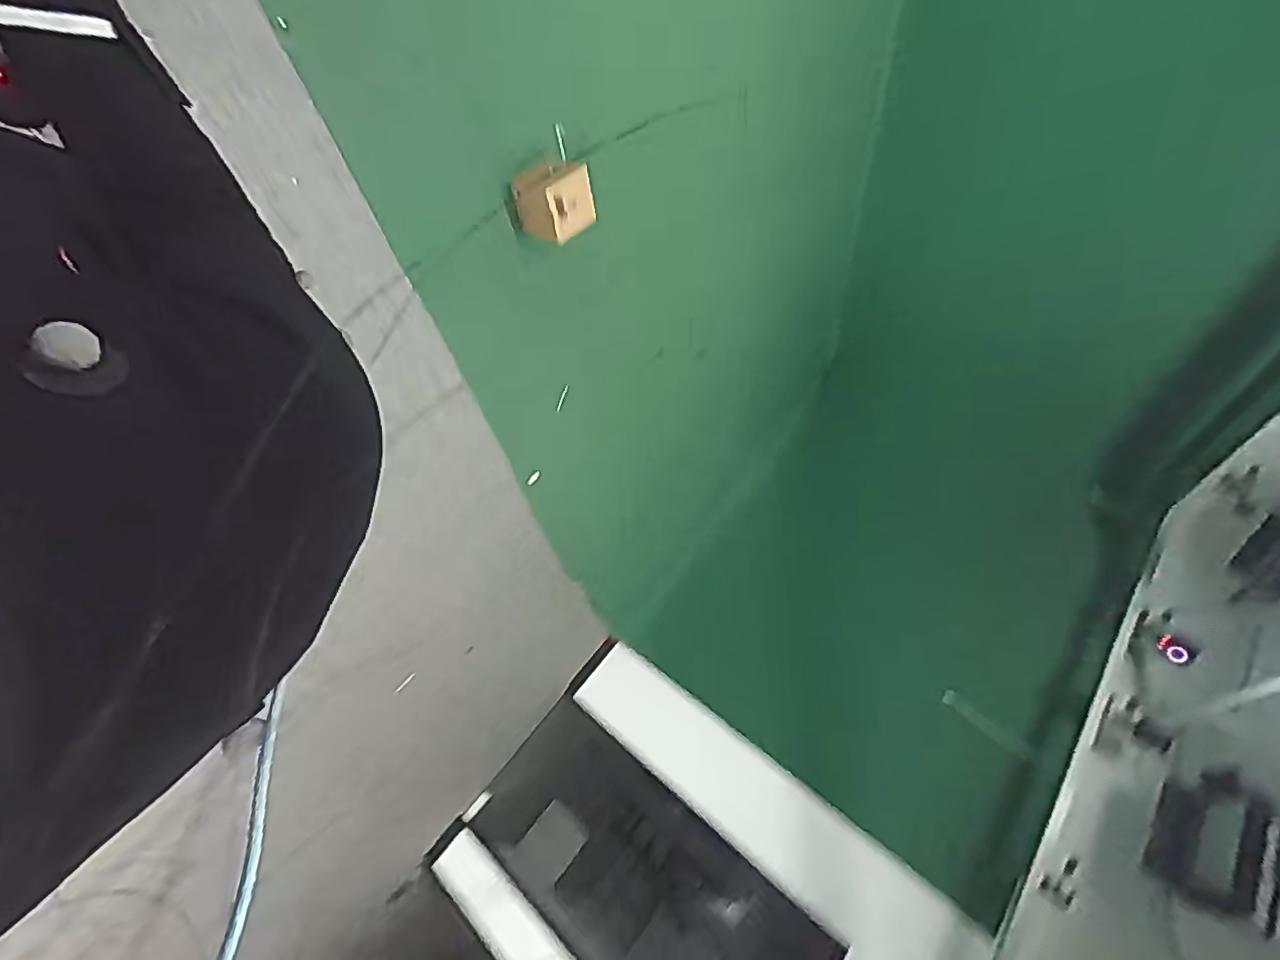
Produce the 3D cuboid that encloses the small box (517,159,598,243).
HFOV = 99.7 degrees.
[{"bbox_3d":[-0.262,-0.872,1.685,0.179,0.176,0.168,-46,149,-24],"label":"small box"}]
